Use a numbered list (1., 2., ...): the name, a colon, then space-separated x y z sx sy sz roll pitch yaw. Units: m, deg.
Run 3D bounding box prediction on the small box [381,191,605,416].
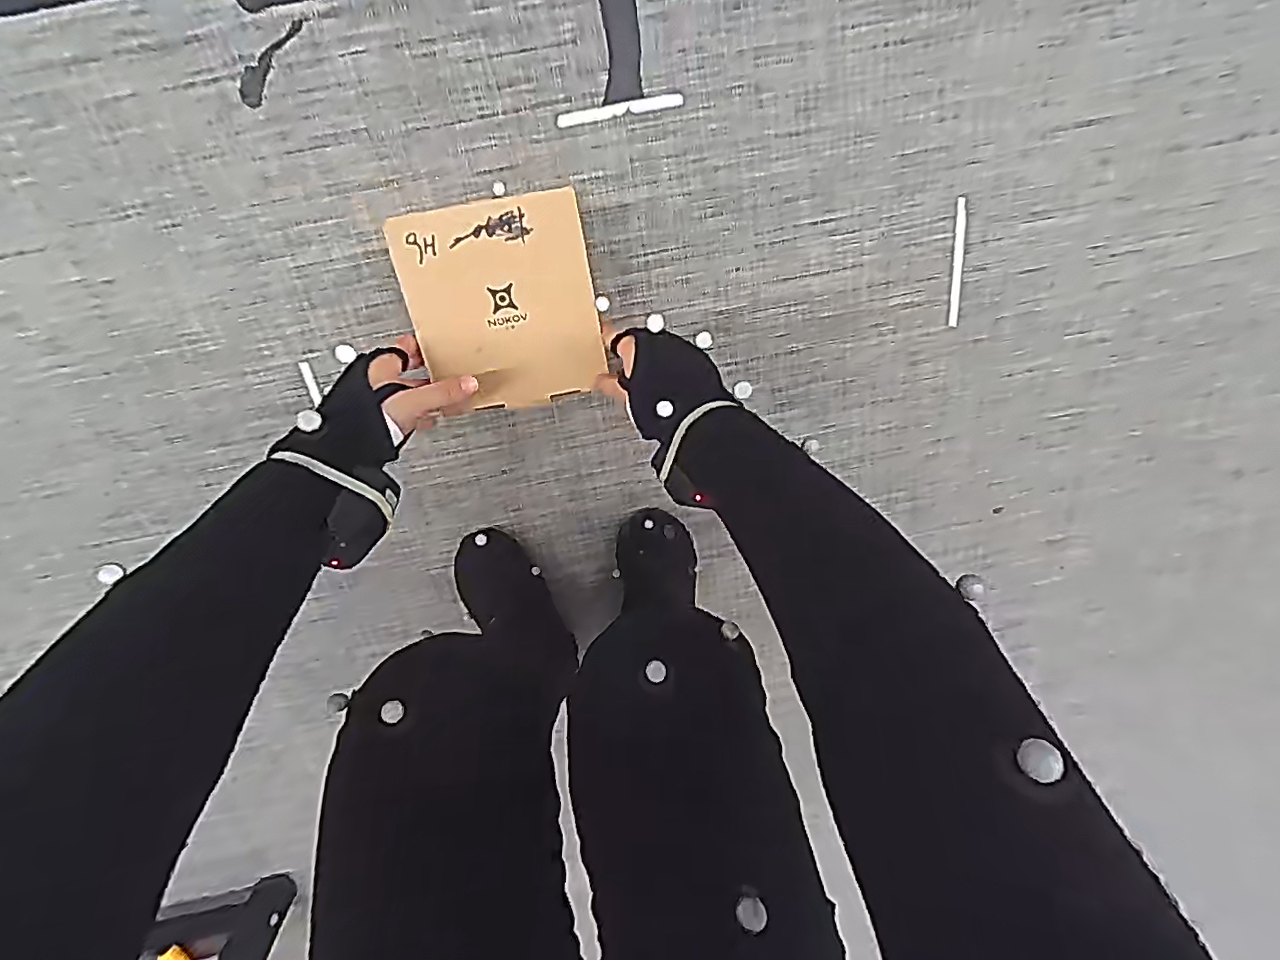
1. small box: -0.129 -0.182 0.552 0.168 0.176 0.179 -10 114 -2
